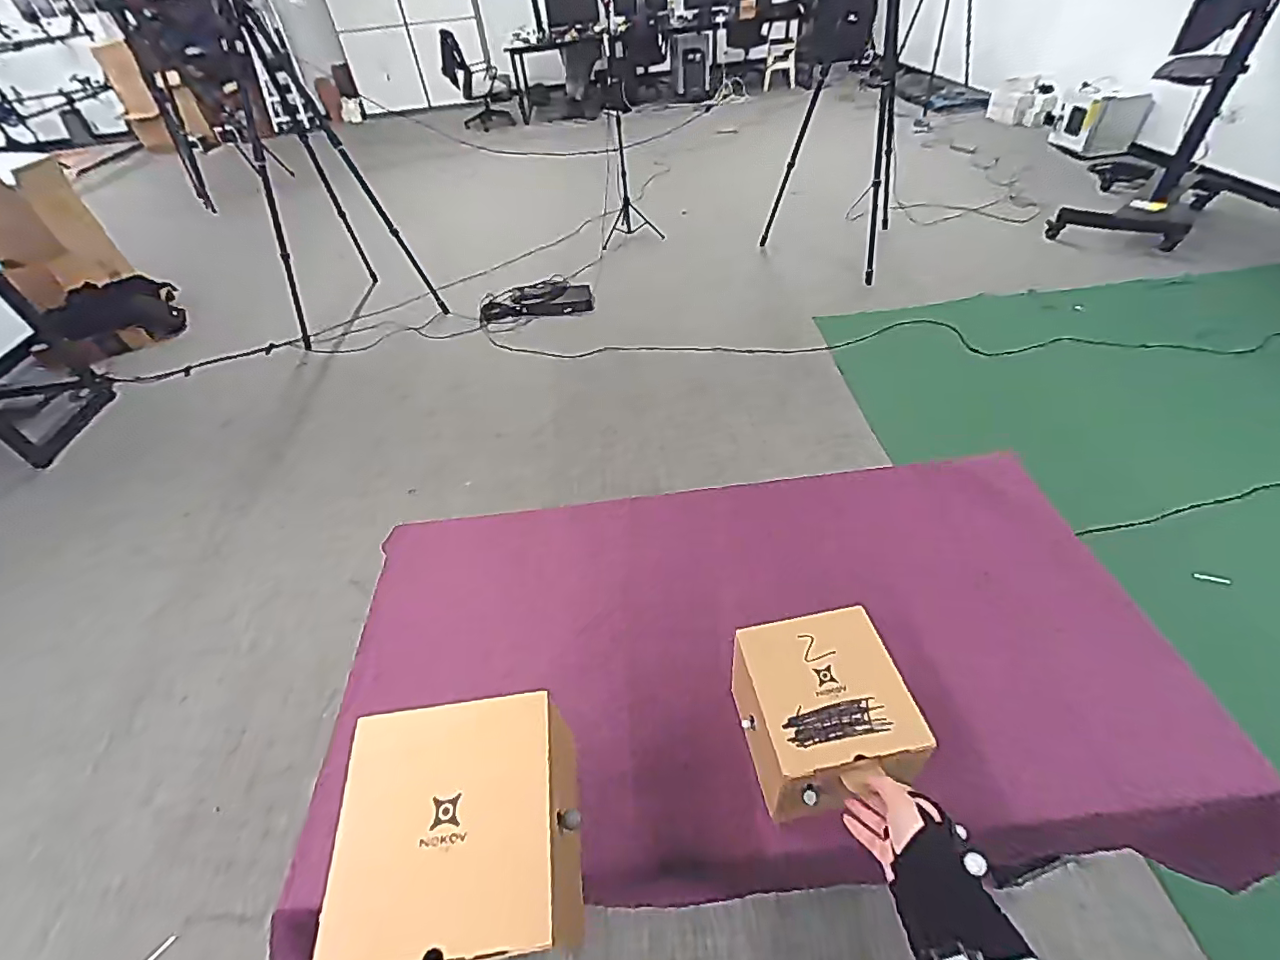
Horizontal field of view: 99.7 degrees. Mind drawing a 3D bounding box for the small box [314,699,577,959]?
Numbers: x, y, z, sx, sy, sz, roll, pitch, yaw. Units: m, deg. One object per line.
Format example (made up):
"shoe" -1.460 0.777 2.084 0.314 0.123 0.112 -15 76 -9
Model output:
"small box" -0.150 0.320 0.484 0.168 0.176 0.179 -7 52 -3
